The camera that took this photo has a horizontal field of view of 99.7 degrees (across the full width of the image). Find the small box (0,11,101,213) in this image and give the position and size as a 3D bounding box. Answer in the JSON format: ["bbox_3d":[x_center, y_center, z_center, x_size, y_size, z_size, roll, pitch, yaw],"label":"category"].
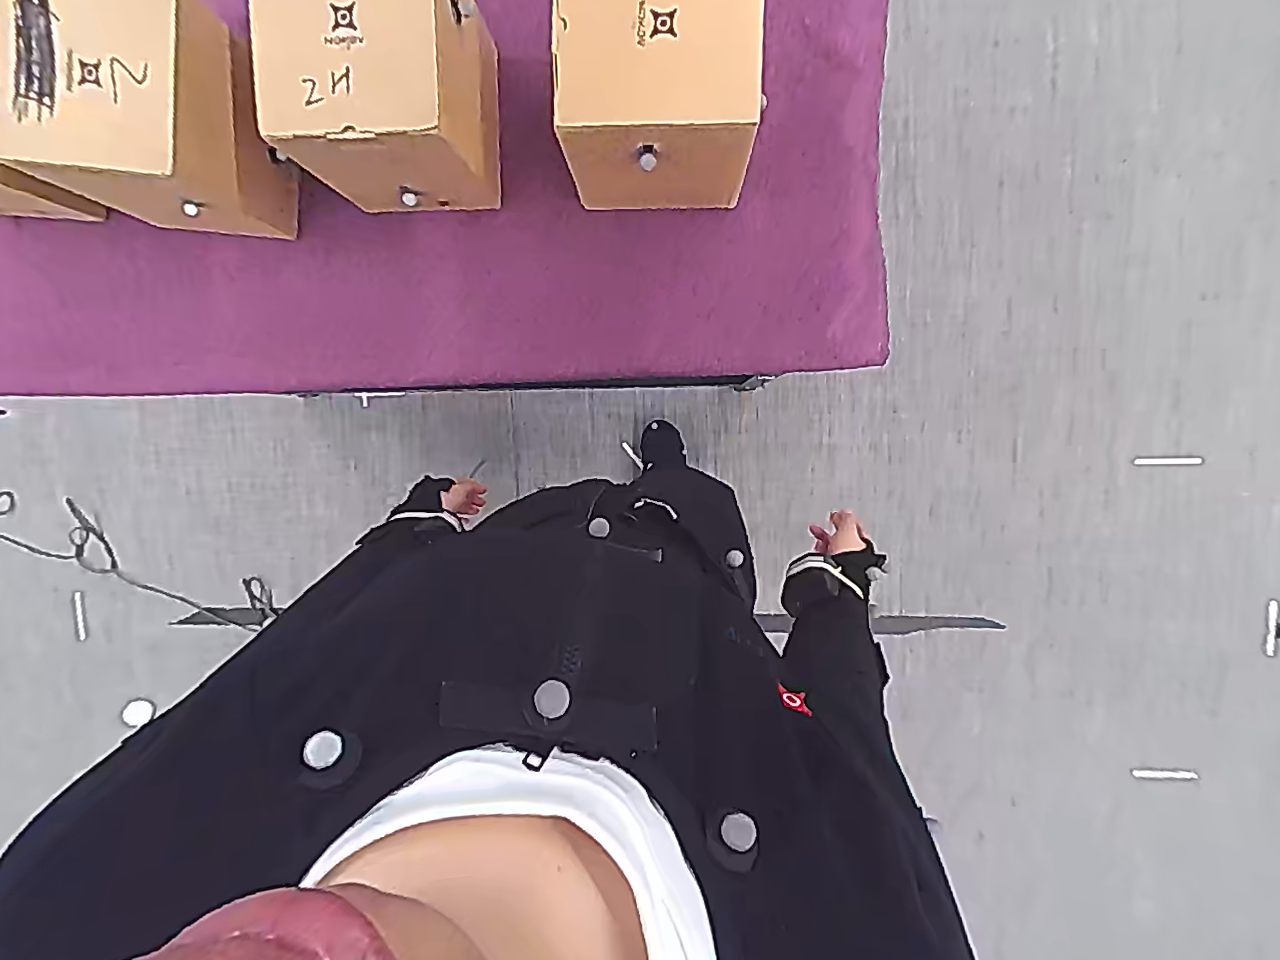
[{"bbox_3d":[-0.725,-0.401,0.568,0.168,0.176,0.179,5,96,2],"label":"small box"}]

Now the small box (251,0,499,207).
[{"bbox_3d":[-0.248,-0.398,0.542,0.168,0.176,0.179,0,95,4],"label":"small box"}]

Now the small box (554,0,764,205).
[{"bbox_3d":[0.020,-0.387,0.528,0.179,0.176,0.168,1,94,4],"label":"small box"}]
